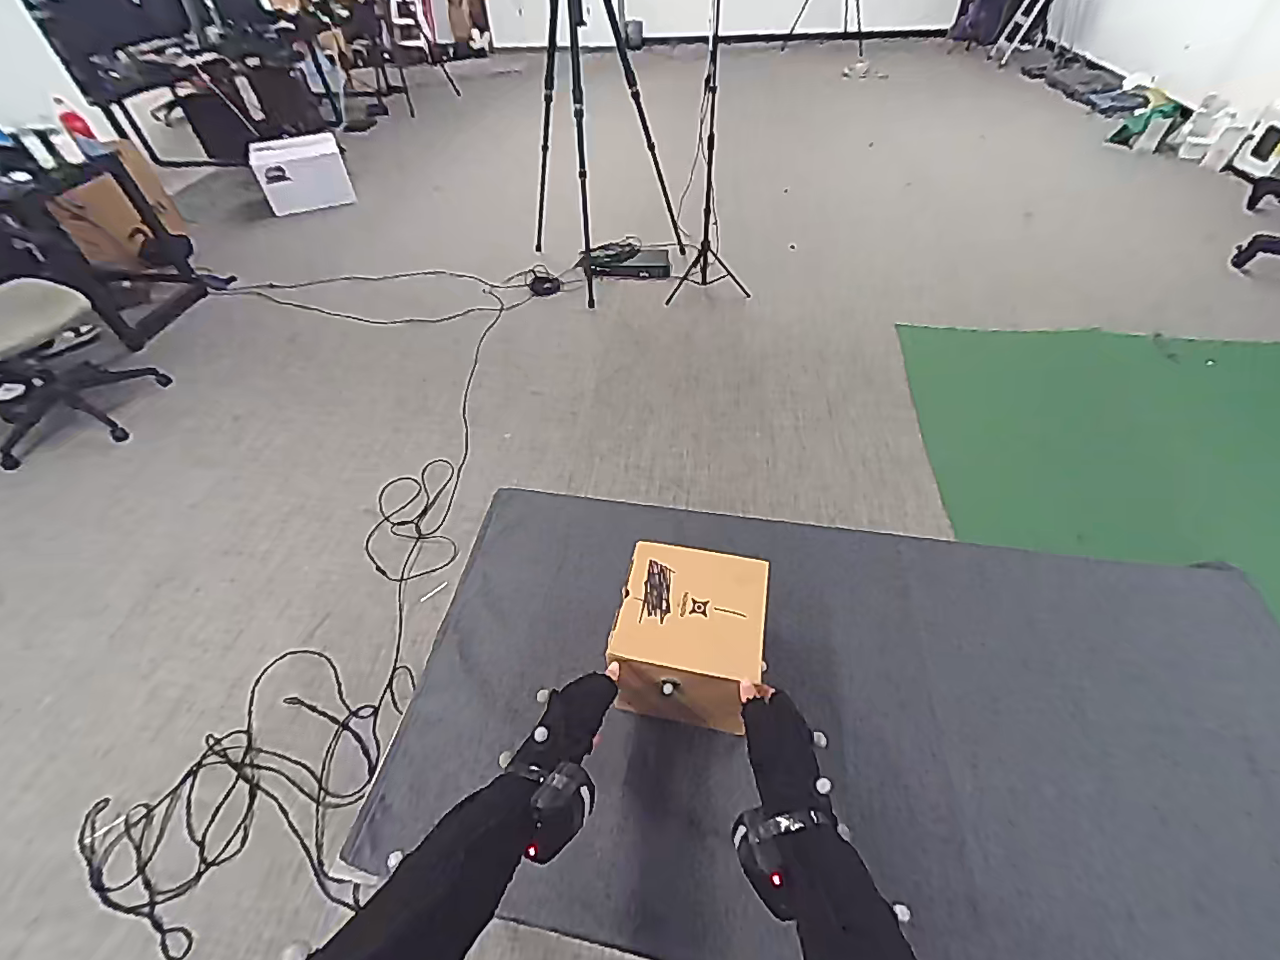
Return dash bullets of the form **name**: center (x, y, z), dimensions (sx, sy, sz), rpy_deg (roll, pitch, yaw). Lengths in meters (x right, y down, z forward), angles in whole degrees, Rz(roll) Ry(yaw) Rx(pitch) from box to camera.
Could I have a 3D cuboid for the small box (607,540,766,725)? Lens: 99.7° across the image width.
- **small box**: center (0.064, 0.206, 0.724), dimensions (0.179, 0.176, 0.168), rpy_deg (9, 48, 9)
